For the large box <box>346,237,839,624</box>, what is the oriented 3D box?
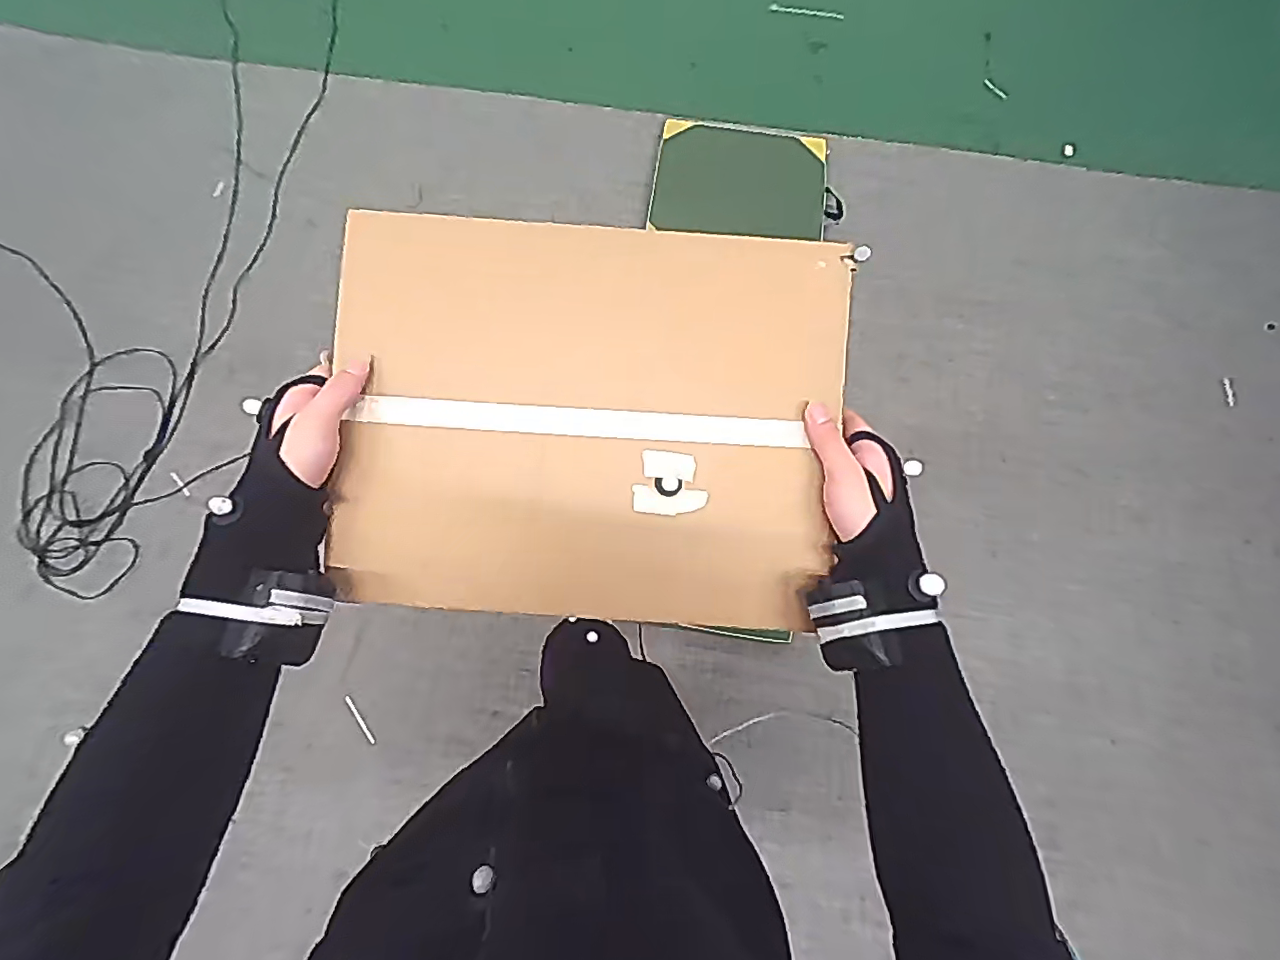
[{"bbox_3d":[-0.041,-0.037,0.598,0.408,0.320,0.320,4,90,-1],"label":"large box"}]
